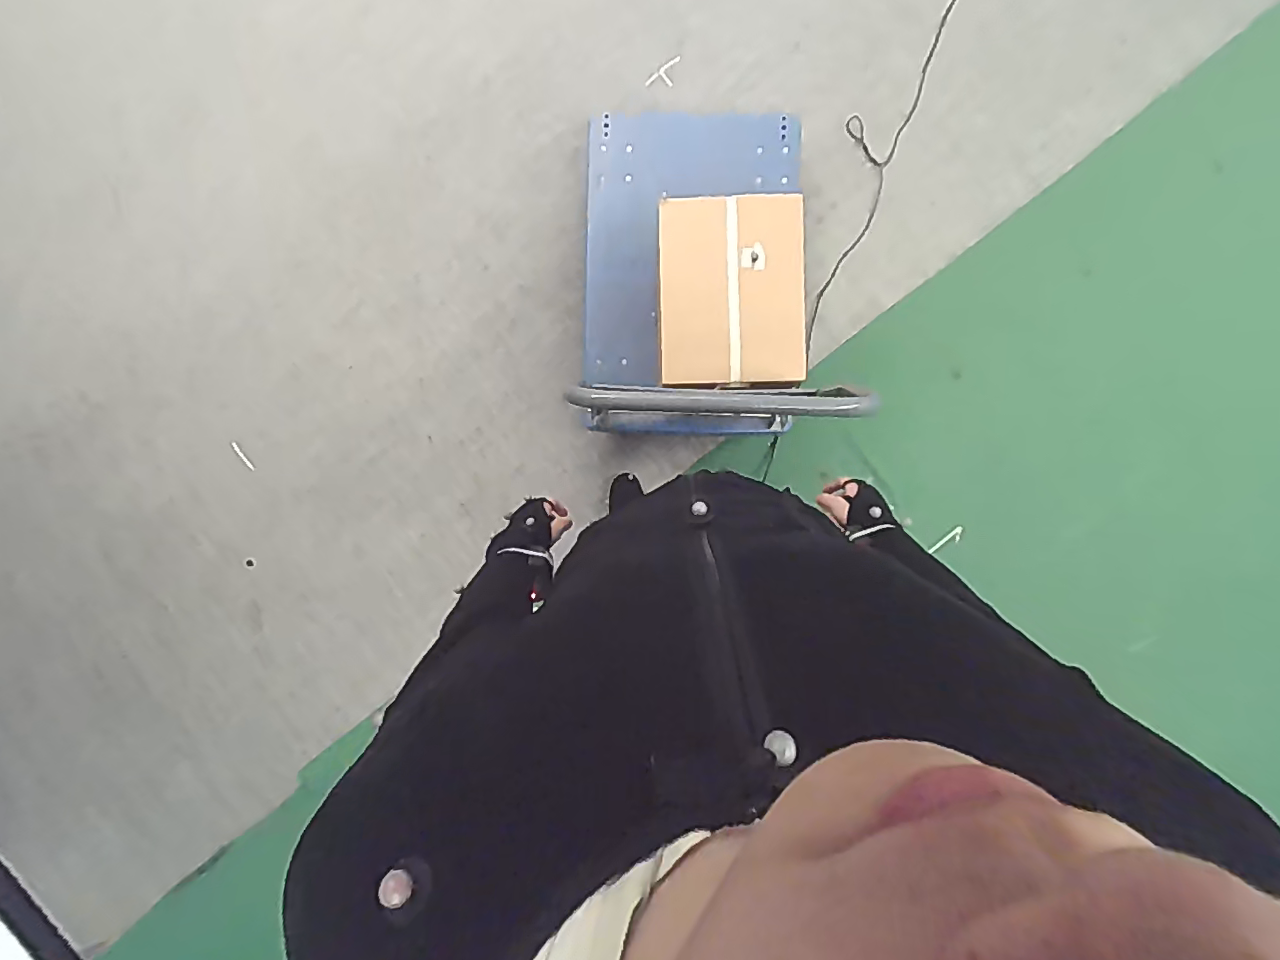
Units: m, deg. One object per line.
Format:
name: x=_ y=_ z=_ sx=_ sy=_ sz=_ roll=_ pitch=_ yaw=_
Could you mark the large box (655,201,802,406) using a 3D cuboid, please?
large box: x=0.198 y=-0.409 z=1.337 sx=0.320 sy=0.320 sz=0.408 roll=-1 pitch=90 yaw=0
